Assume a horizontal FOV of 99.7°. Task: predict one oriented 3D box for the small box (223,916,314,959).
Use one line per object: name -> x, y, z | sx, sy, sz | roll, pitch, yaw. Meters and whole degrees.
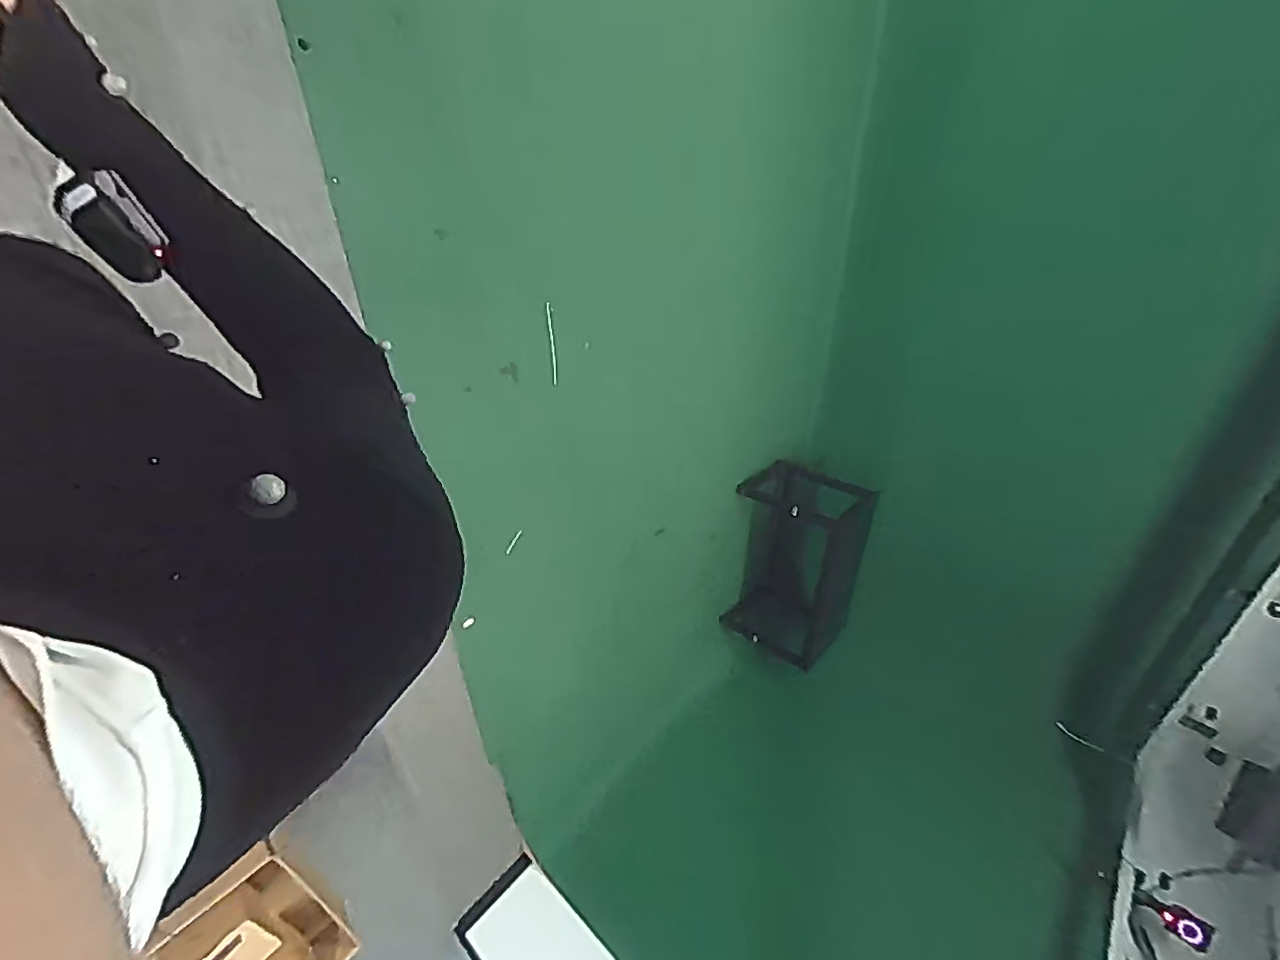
small box -> -0.996, 1.324, 1.442 | 0.179, 0.176, 0.168 | -36, 136, -34
